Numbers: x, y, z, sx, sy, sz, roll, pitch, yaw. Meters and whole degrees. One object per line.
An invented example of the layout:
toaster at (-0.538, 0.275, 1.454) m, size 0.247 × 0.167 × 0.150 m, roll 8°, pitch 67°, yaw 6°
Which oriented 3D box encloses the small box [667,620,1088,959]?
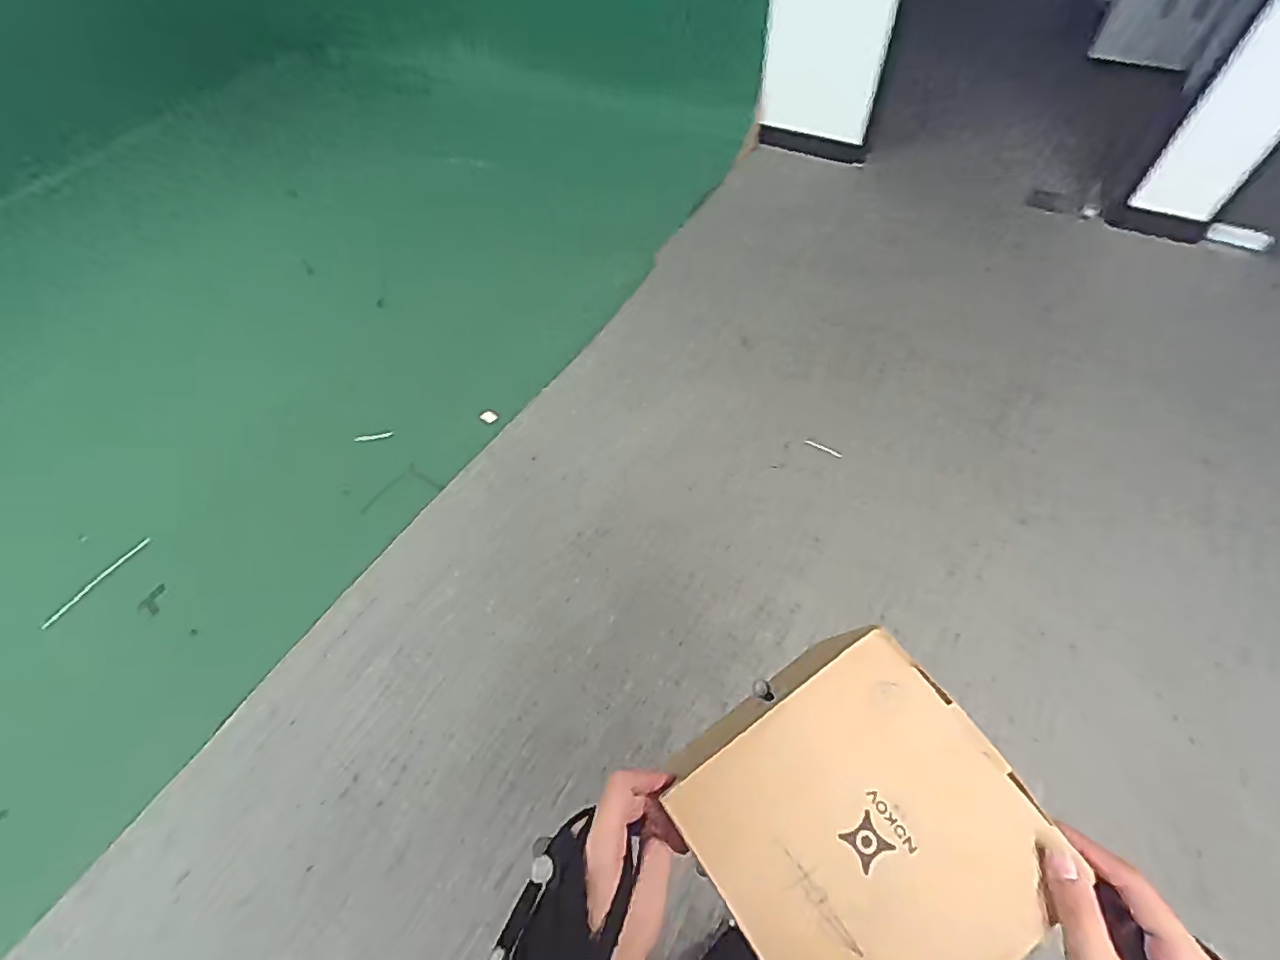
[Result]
small box at (0.133, 0.224, 0.378) m, size 0.179 × 0.176 × 0.168 m, roll -36°, pitch 69°, yaw -10°
